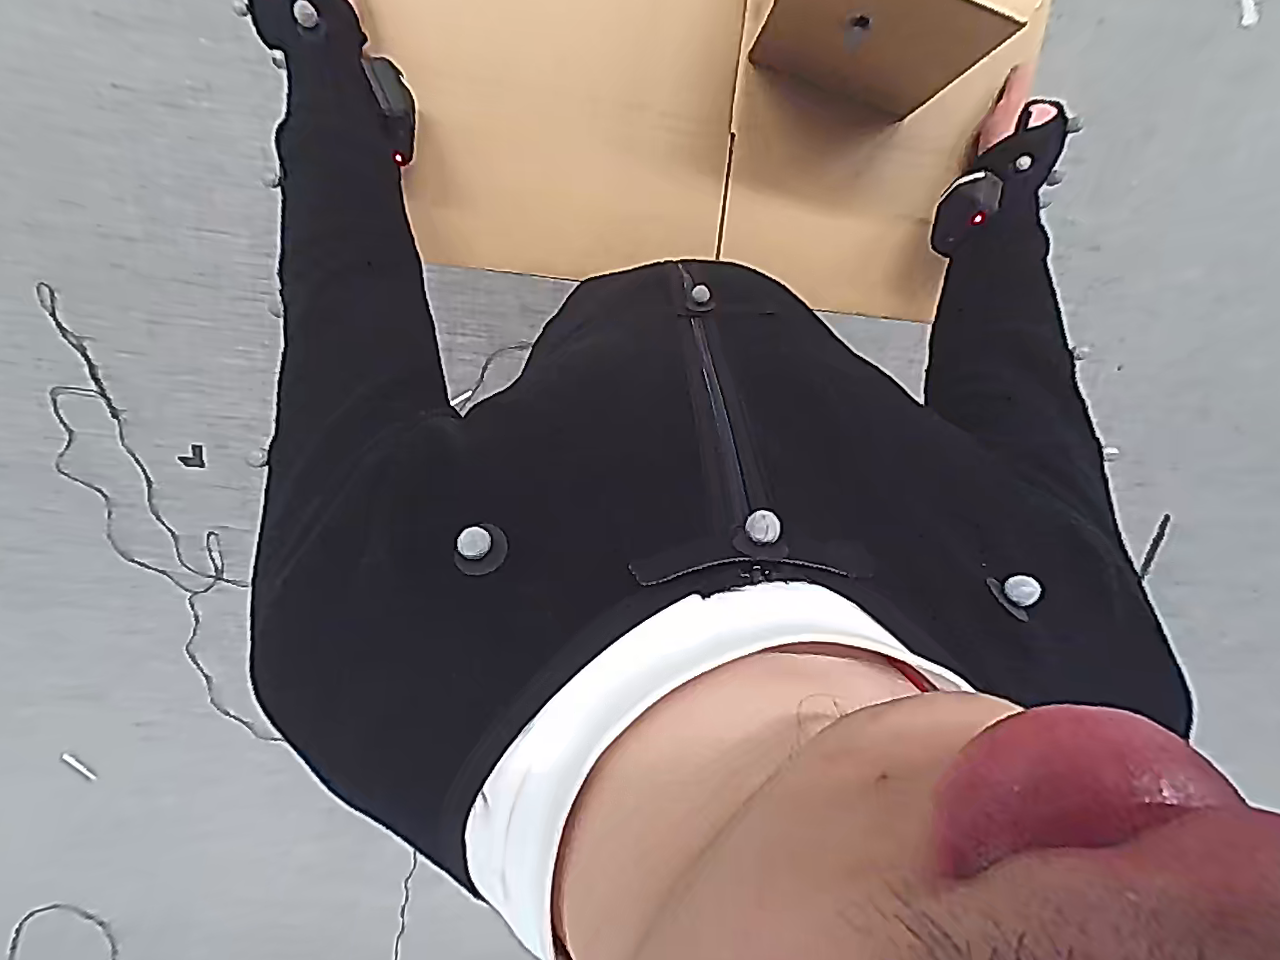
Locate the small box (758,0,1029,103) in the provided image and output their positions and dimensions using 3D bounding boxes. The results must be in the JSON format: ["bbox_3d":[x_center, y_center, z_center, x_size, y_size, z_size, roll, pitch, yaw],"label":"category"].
[{"bbox_3d":[0.216,-0.453,0.446,0.179,0.176,0.168,15,103,-6],"label":"small box"}]
